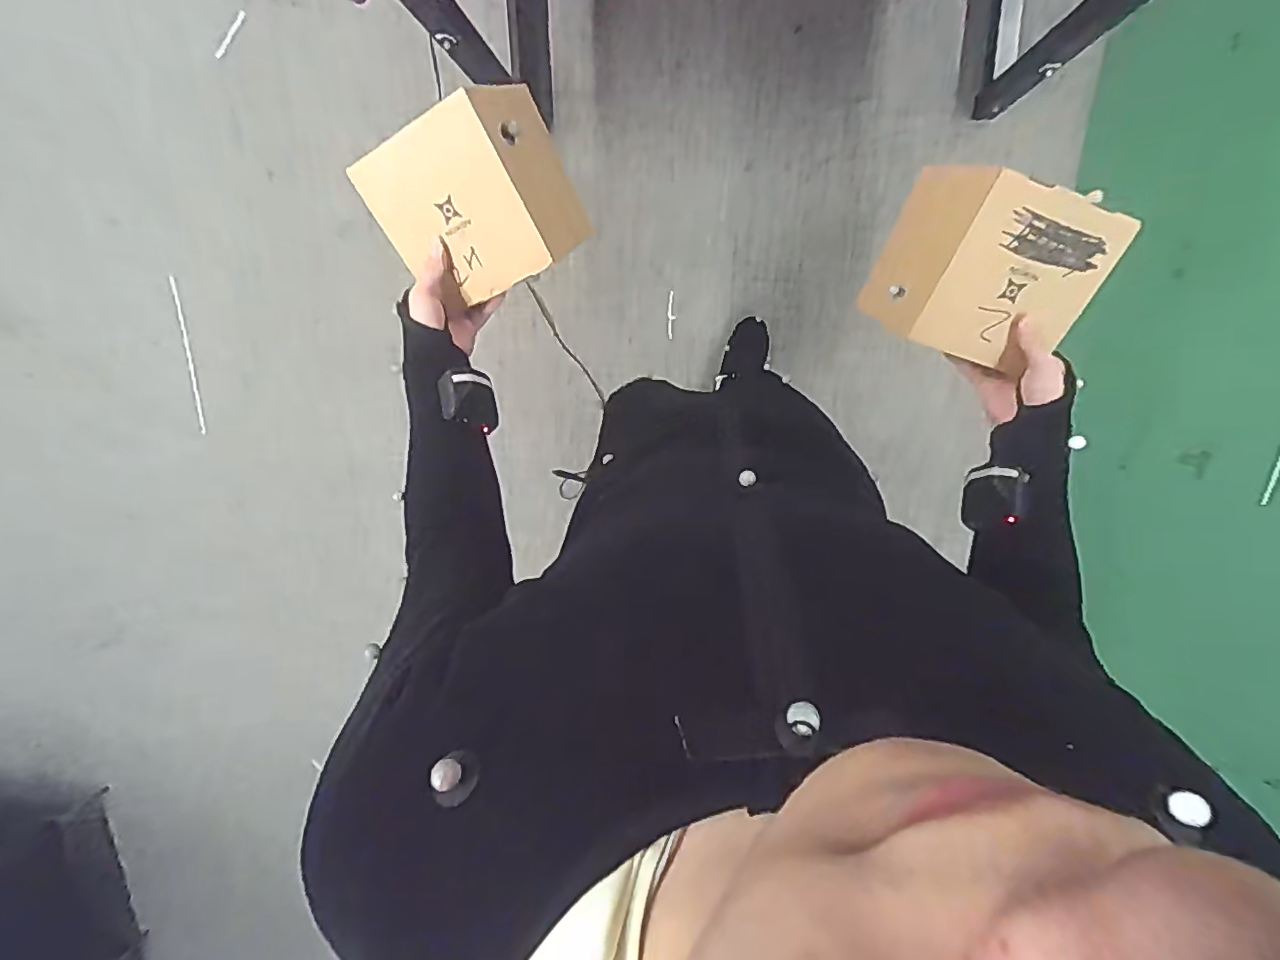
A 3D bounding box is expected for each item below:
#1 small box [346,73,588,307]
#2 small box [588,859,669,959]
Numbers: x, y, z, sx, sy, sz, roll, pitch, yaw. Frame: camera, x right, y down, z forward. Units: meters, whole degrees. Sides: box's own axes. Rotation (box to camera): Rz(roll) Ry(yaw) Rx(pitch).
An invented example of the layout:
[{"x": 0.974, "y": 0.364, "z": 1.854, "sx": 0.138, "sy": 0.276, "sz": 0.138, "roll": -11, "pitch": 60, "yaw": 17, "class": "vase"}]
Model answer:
[{"x": -0.185, "y": -0.335, "z": 0.631, "sx": 0.168, "sy": 0.176, "sz": 0.179, "roll": -15, "pitch": 121, "yaw": 24, "class": "small box"}, {"x": -0.025, "y": 1.084, "z": 1.330, "sx": 0.168, "sy": 0.176, "sz": 0.179, "roll": 12, "pitch": 107, "yaw": 5, "class": "small box"}]
